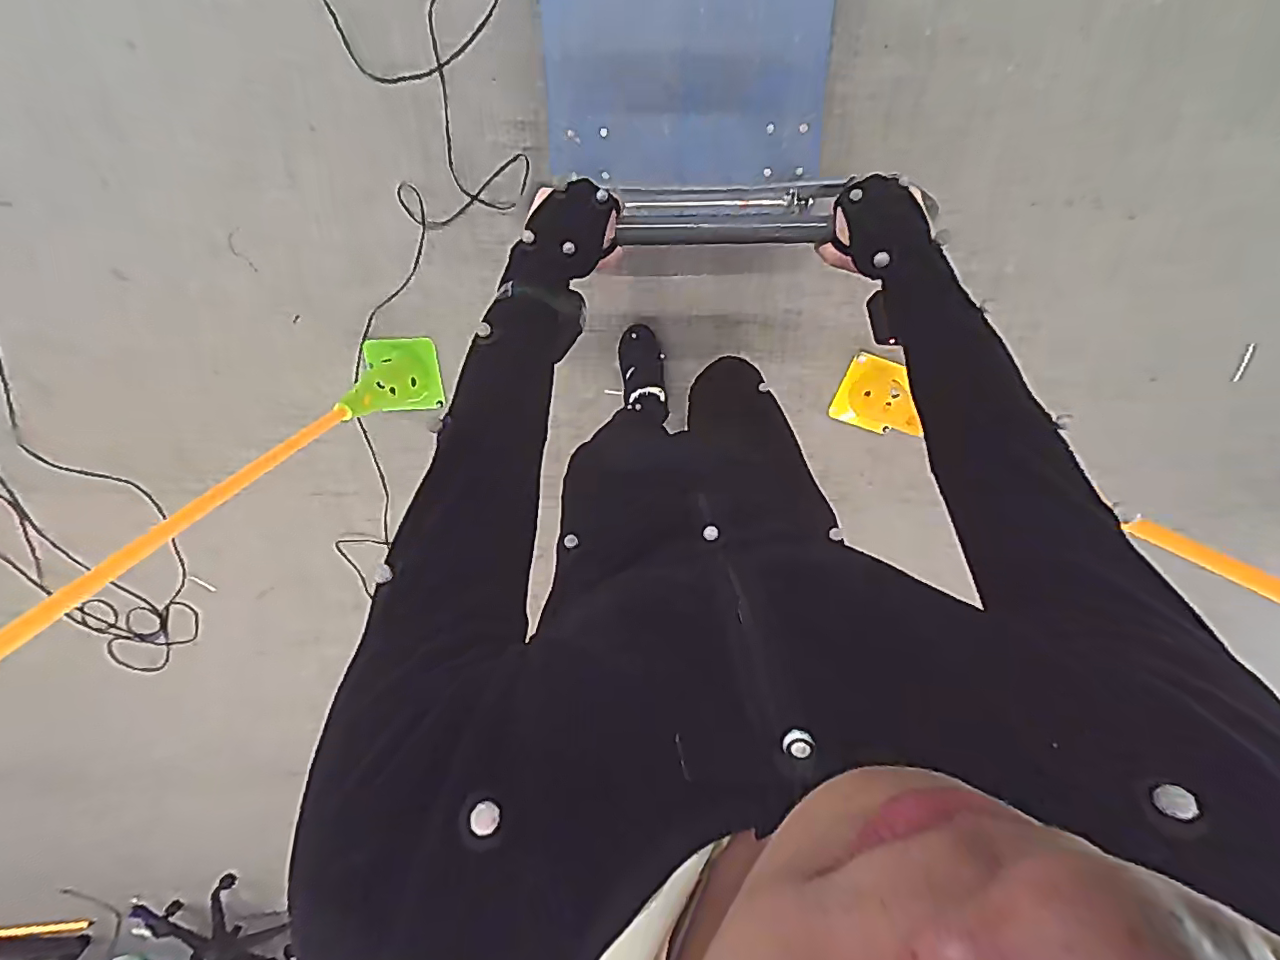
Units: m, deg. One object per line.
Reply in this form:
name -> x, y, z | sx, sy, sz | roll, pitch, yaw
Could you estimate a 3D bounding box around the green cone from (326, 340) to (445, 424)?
green cone -> -0.662, -0.218, 1.353 | 0.202, 0.368, 0.200 | -2, 113, 3
